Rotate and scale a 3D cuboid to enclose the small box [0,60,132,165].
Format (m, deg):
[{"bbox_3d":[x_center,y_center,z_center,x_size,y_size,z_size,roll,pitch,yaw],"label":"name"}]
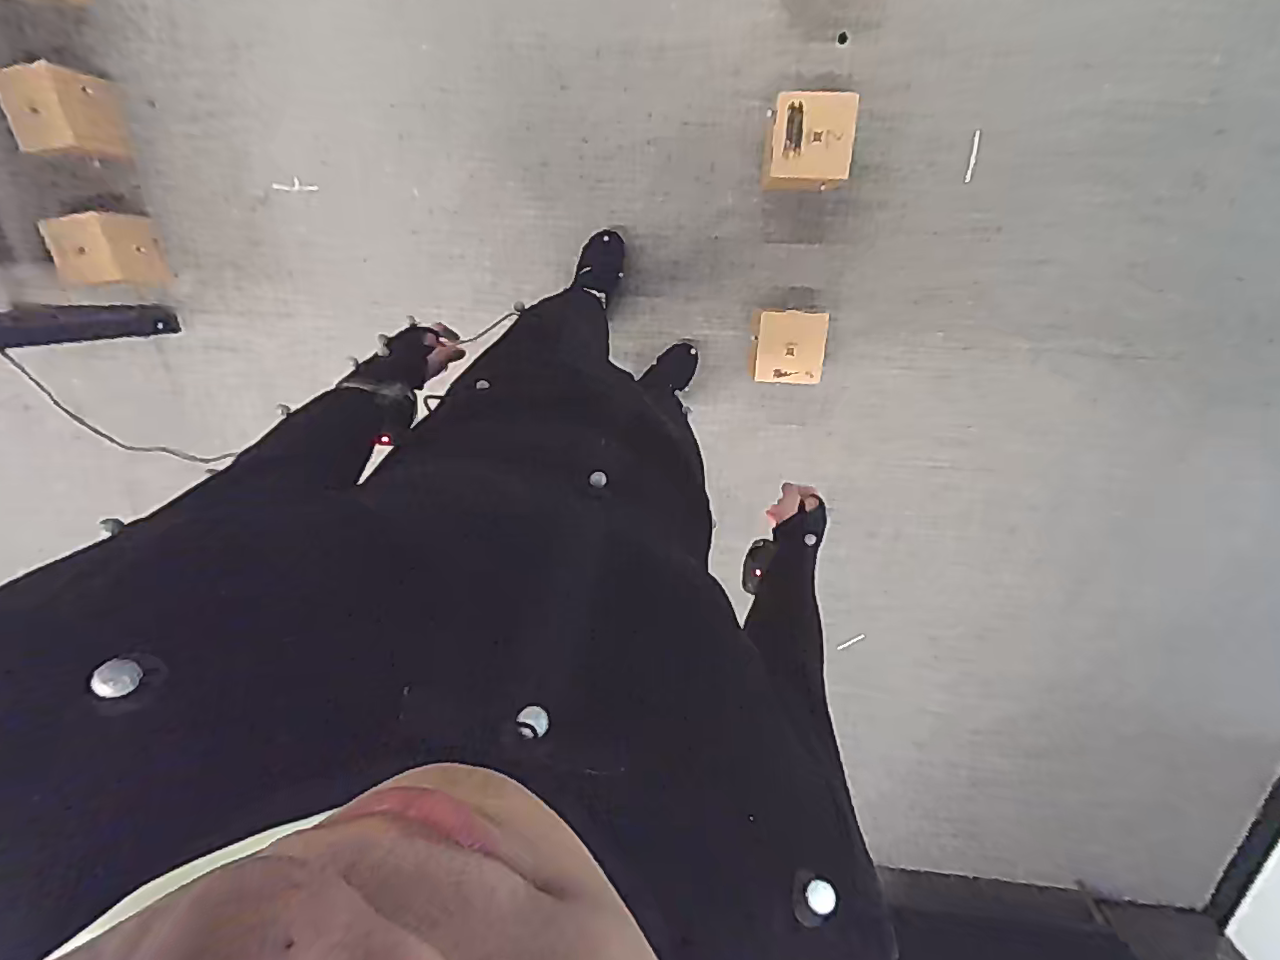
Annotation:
[{"bbox_3d":[-1.457,-0.917,1.363,0.168,0.176,0.179,-3,110,7],"label":"small box"}]

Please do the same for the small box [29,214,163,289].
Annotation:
[{"bbox_3d":[-1.457,-0.617,1.469,0.179,0.176,0.168,-5,109,7],"label":"small box"}]

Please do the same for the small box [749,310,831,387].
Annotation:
[{"bbox_3d":[0.379,-0.346,1.400,0.168,0.176,0.179,4,110,4],"label":"small box"}]
